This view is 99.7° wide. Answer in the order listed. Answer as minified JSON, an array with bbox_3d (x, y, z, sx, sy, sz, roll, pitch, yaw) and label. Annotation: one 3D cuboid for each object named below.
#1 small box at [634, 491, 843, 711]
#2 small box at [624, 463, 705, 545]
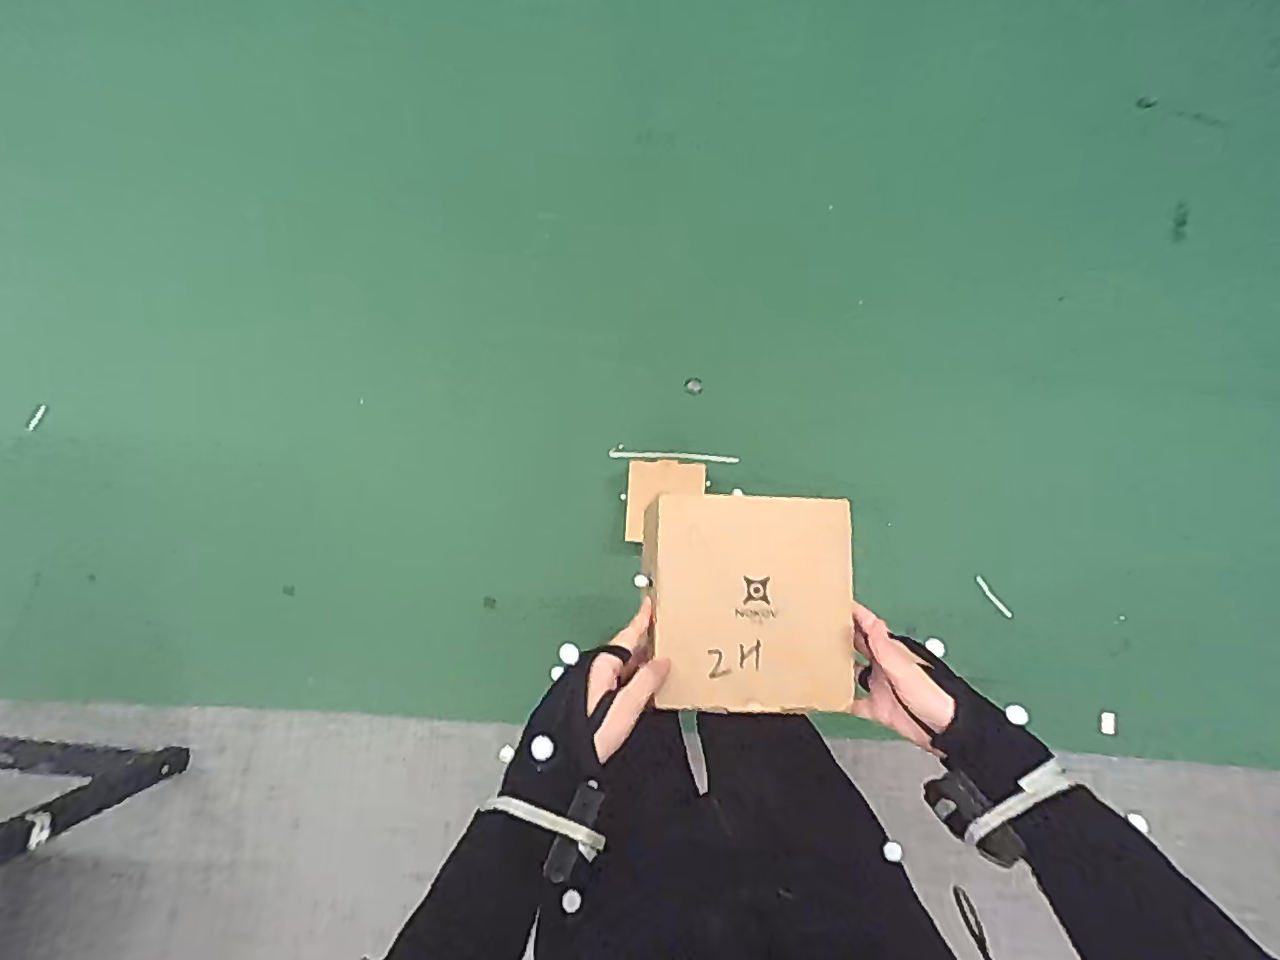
[{"bbox_3d":[0.083,0.112,0.531,0.168,0.176,0.179,3,81,-4],"label":"small box"},{"bbox_3d":[0.057,0.063,1.233,0.168,0.176,0.179,3,84,2],"label":"small box"}]
